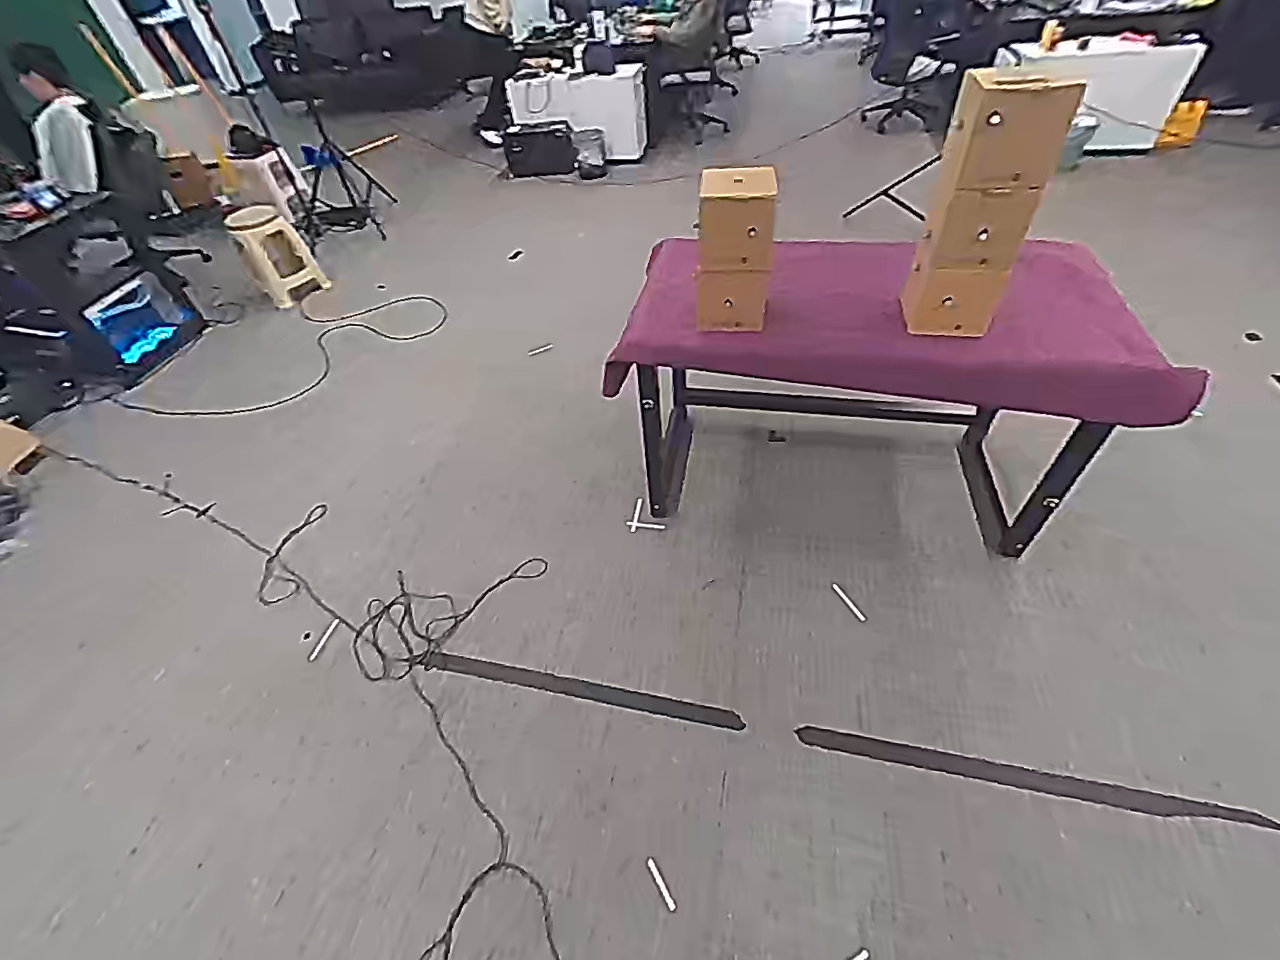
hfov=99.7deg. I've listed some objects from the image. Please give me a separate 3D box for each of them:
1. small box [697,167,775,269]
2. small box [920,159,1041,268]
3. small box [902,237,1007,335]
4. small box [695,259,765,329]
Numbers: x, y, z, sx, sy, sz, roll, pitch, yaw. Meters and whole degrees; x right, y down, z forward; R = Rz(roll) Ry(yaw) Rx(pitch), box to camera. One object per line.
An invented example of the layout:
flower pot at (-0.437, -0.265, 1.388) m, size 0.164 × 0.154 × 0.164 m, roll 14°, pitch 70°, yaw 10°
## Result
small box at (0.220, -0.604, 1.256) m, size 0.168 × 0.176 × 0.179 m, roll 2°, pitch 46°, yaw 7°
small box at (0.731, -0.579, 1.181) m, size 0.168 × 0.176 × 0.179 m, roll 6°, pitch 48°, yaw 12°
small box at (0.742, -0.464, 1.297) m, size 0.168 × 0.176 × 0.179 m, roll 6°, pitch 48°, yaw 12°
small box at (0.231, -0.499, 1.379) m, size 0.168 × 0.176 × 0.179 m, roll 3°, pitch 47°, yaw 8°
